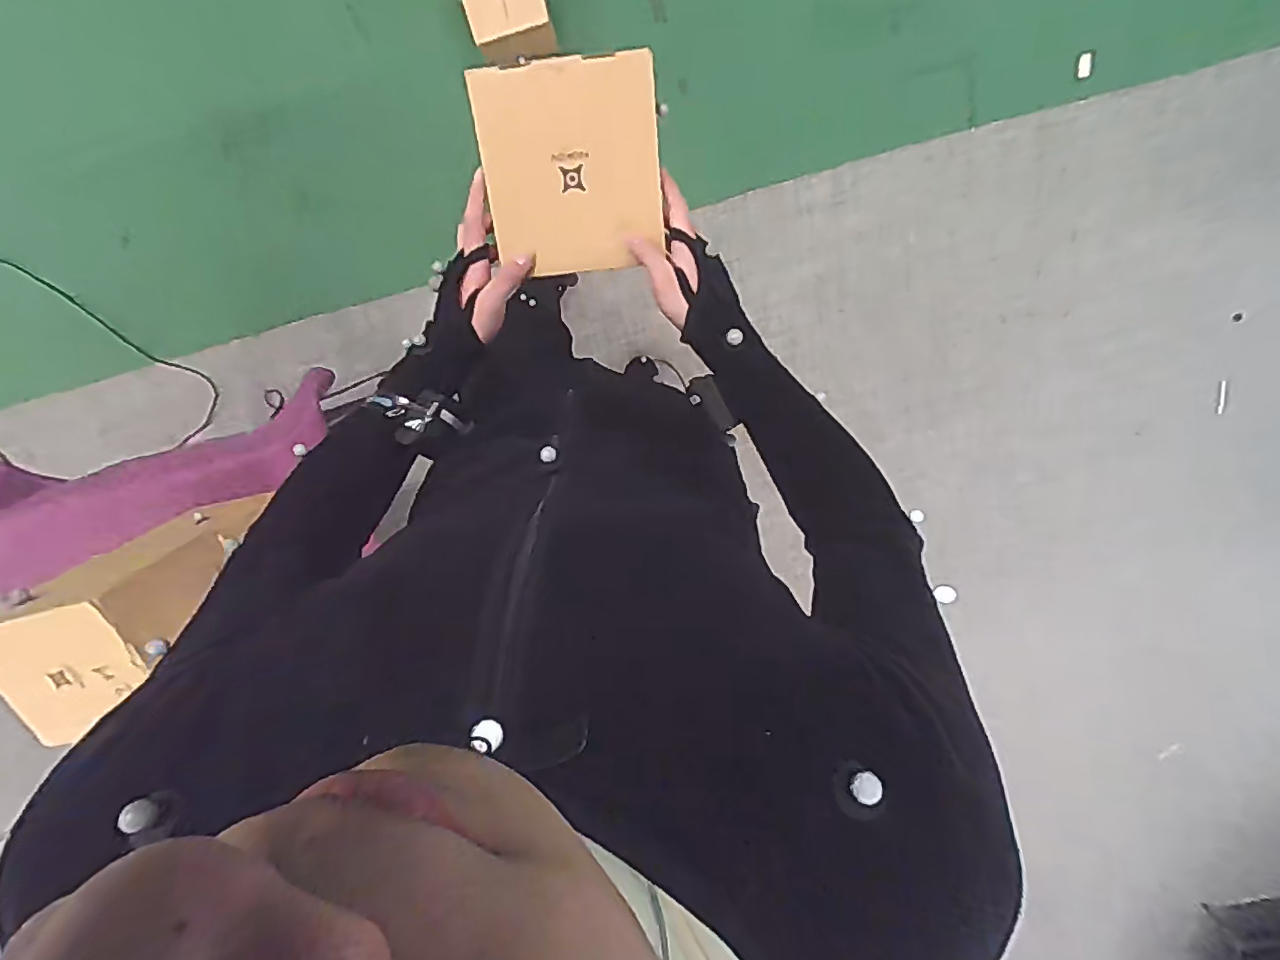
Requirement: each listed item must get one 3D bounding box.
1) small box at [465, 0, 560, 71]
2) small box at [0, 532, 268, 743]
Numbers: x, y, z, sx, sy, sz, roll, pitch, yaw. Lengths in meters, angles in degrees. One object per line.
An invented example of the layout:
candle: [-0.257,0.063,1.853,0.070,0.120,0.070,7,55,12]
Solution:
small box: [-0.283,-1.037,1.173,0.168,0.176,0.179,-14,111,5]
small box: [-0.620,0.185,0.666,0.179,0.176,0.168,-13,111,4]
